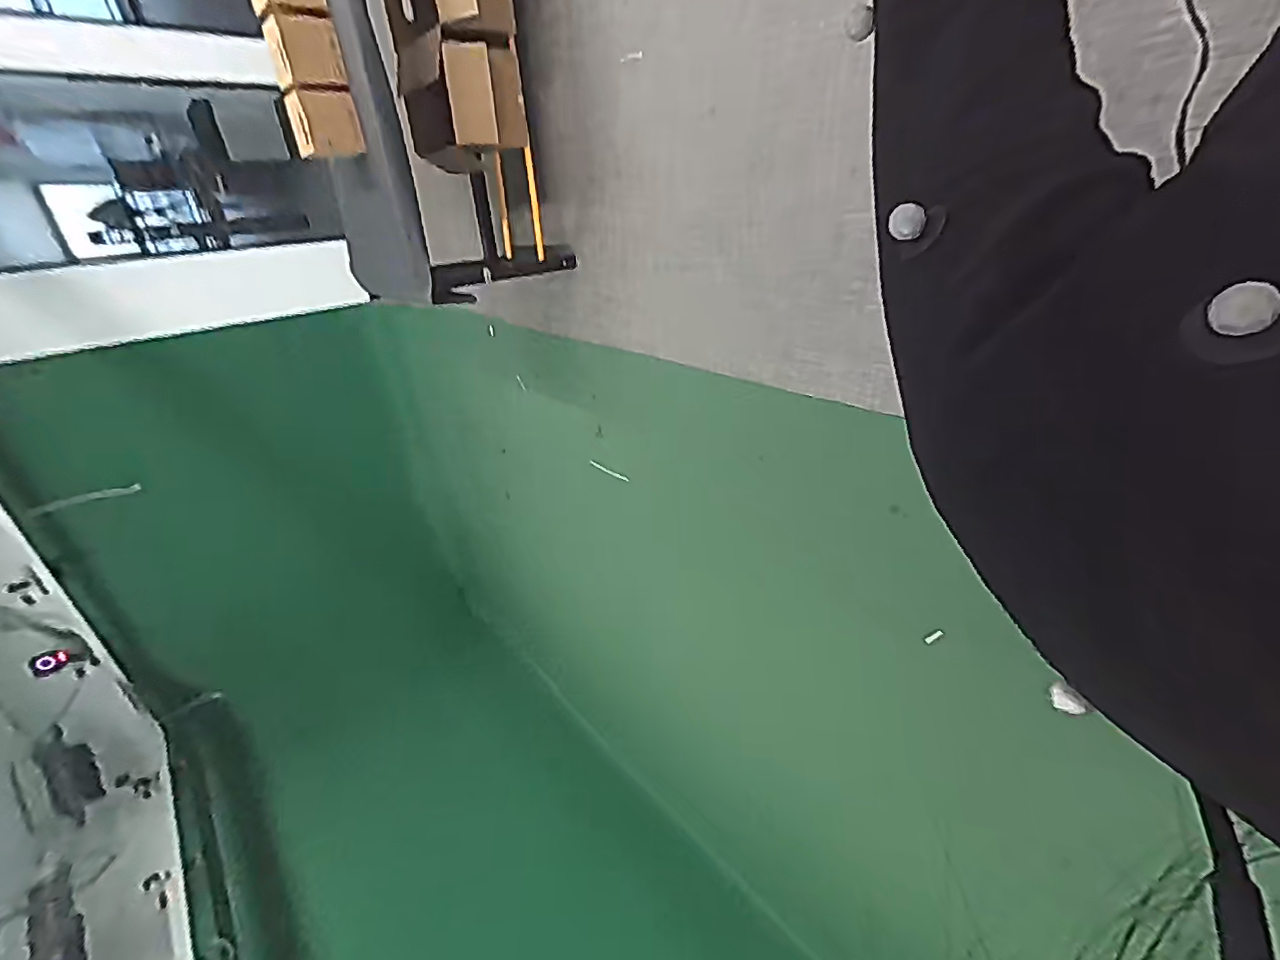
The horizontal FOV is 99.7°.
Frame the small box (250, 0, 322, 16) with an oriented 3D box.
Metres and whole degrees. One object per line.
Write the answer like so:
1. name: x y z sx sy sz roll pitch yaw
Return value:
1. small box: -1.090 -1.538 1.635 0.179 0.176 0.168 25 129 41
